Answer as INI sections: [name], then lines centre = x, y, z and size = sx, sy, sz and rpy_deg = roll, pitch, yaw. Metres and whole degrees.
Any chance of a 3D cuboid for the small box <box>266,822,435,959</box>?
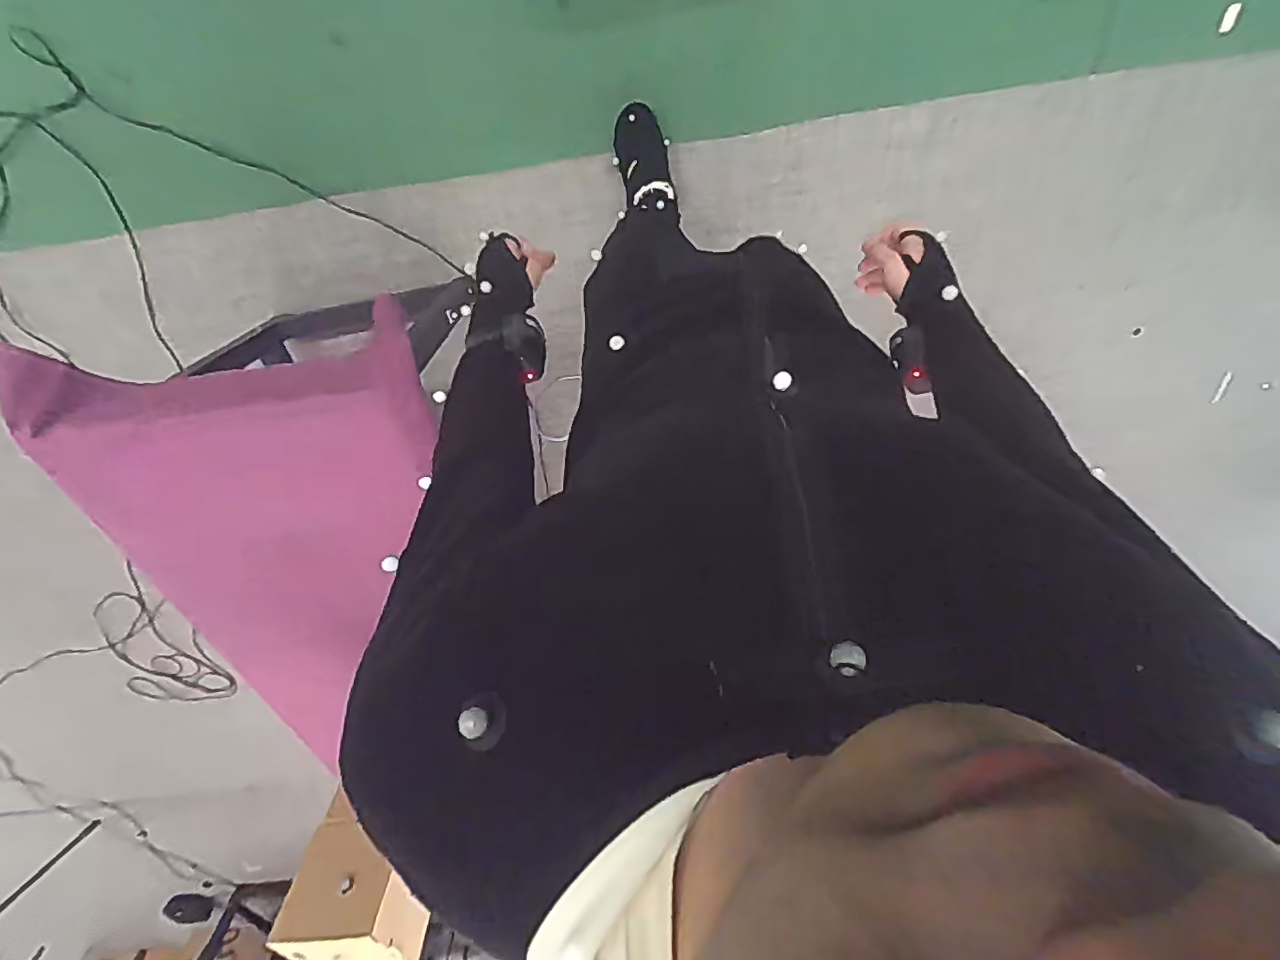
[small box]
centre = -0.468, 0.705, 0.914
size = 0.179, 0.176, 0.168
rpy_deg = -9, 123, 5
